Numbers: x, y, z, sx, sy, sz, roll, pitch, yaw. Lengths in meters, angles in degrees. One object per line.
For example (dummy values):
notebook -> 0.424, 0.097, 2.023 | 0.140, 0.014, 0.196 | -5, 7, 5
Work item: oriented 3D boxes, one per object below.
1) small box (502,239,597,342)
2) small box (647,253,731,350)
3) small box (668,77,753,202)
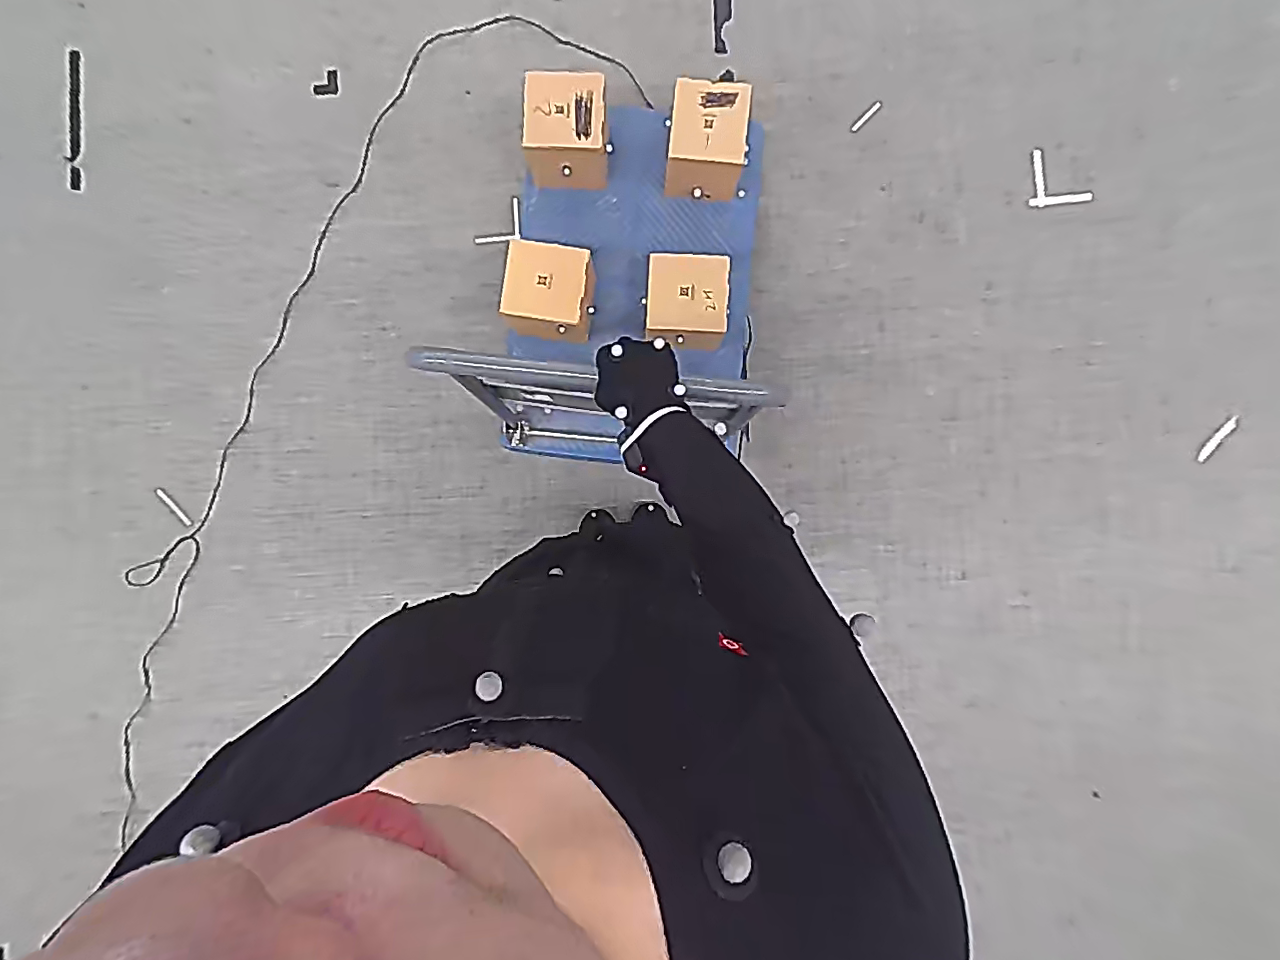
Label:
small box -> -0.201, -0.427, 1.244 | 0.179, 0.176, 0.168 | 8, 89, -1
small box -> 0.107, -0.402, 1.239 | 0.179, 0.176, 0.168 | 3, 90, 1
small box -> 0.154, -0.773, 1.240 | 0.168, 0.176, 0.179 | 6, 91, 1
